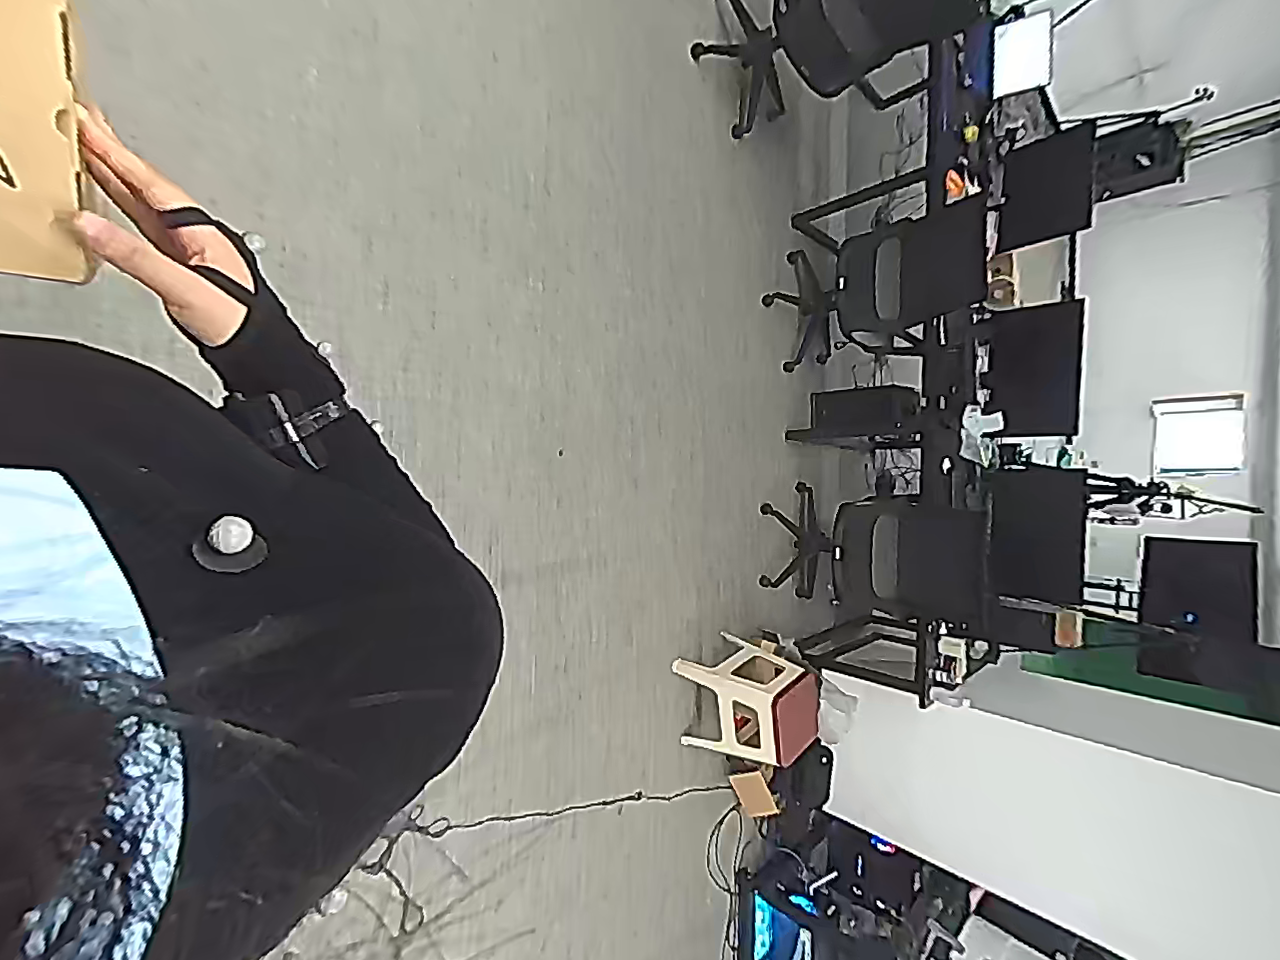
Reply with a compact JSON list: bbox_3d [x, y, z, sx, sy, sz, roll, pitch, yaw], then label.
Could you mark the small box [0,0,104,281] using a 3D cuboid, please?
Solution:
[{"bbox_3d":[-0.414,-0.213,0.287,0.179,0.176,0.168,-3,112,-43],"label":"small box"}]
